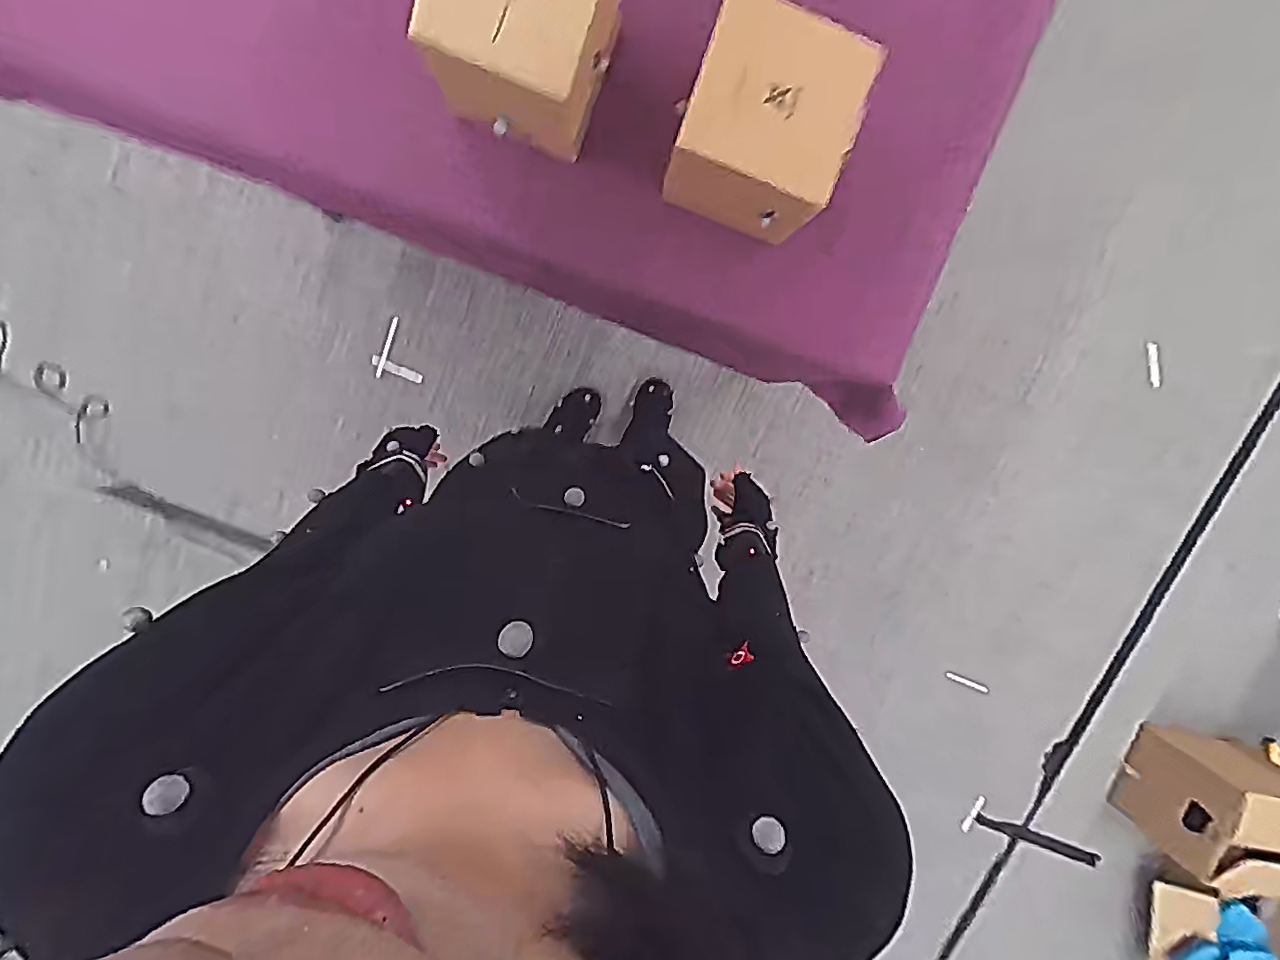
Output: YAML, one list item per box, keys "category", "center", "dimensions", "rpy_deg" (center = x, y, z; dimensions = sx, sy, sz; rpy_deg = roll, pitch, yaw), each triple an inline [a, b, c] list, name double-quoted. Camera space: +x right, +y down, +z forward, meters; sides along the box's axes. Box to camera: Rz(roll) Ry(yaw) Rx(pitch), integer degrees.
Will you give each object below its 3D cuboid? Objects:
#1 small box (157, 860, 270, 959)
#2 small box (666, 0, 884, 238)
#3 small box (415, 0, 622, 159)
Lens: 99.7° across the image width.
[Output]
- category: "small box"
  center: [-1.212, 1.240, 1.552]
  dimensions: [0.179, 0.176, 0.168]
  rpy_deg: [23, 97, -10]
- category: "small box"
  center: [0.143, -0.410, 0.642]
  dimensions: [0.179, 0.176, 0.168]
  rpy_deg: [18, 97, -6]
- category: "small box"
  center: [-0.122, -0.506, 0.604]
  dimensions: [0.168, 0.176, 0.179]
  rpy_deg: [20, 99, -7]
